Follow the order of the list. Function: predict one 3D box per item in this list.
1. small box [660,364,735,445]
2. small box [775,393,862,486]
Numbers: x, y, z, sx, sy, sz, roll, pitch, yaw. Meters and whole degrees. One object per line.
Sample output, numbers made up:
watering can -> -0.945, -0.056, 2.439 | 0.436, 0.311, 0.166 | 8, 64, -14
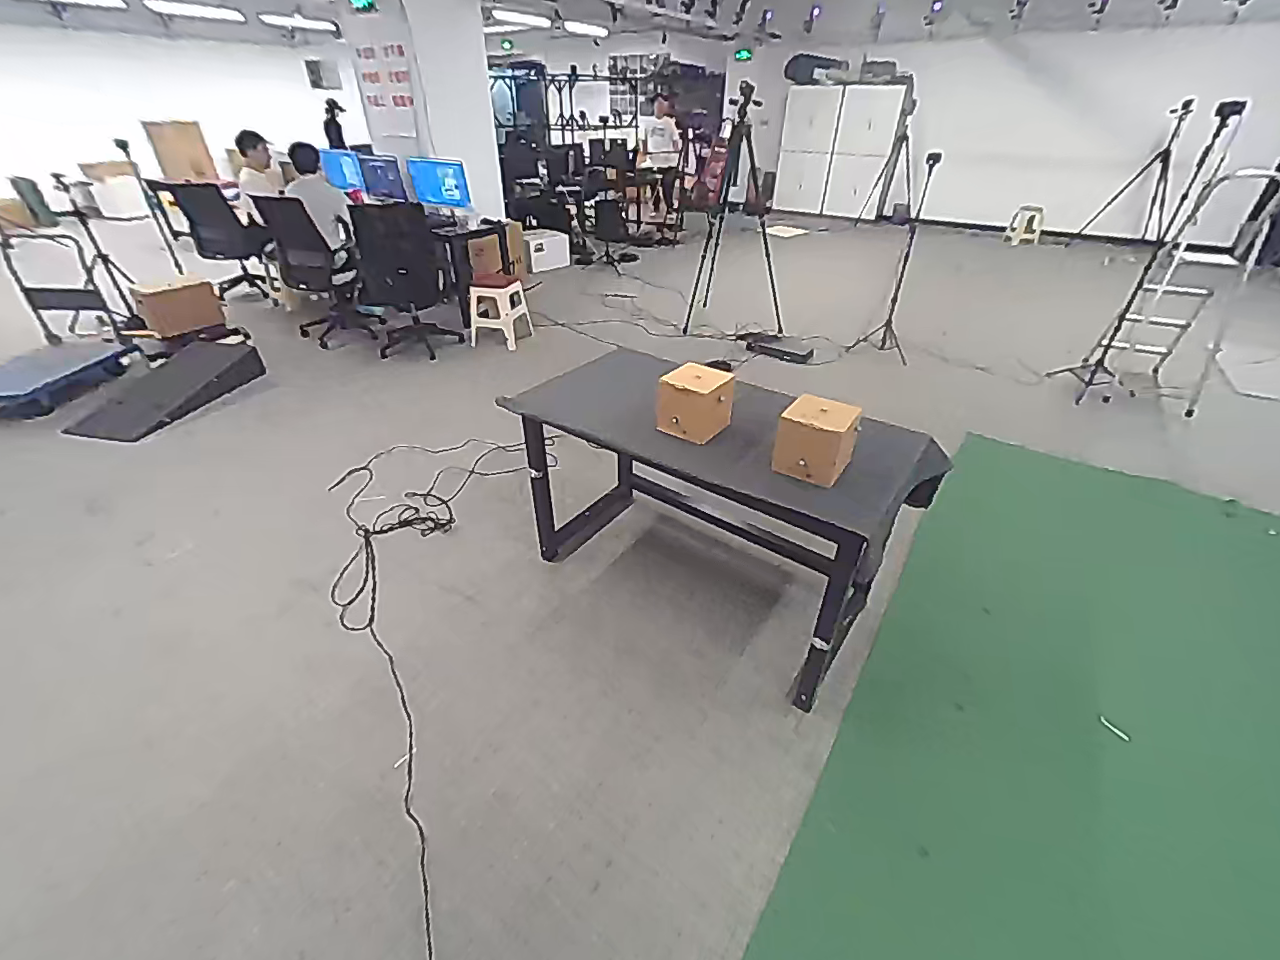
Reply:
small box -> 0.169, -0.230, 1.641 | 0.168, 0.176, 0.179 | 22, 40, 29
small box -> 0.476, -0.111, 1.455 | 0.168, 0.176, 0.179 | 20, 39, 29
